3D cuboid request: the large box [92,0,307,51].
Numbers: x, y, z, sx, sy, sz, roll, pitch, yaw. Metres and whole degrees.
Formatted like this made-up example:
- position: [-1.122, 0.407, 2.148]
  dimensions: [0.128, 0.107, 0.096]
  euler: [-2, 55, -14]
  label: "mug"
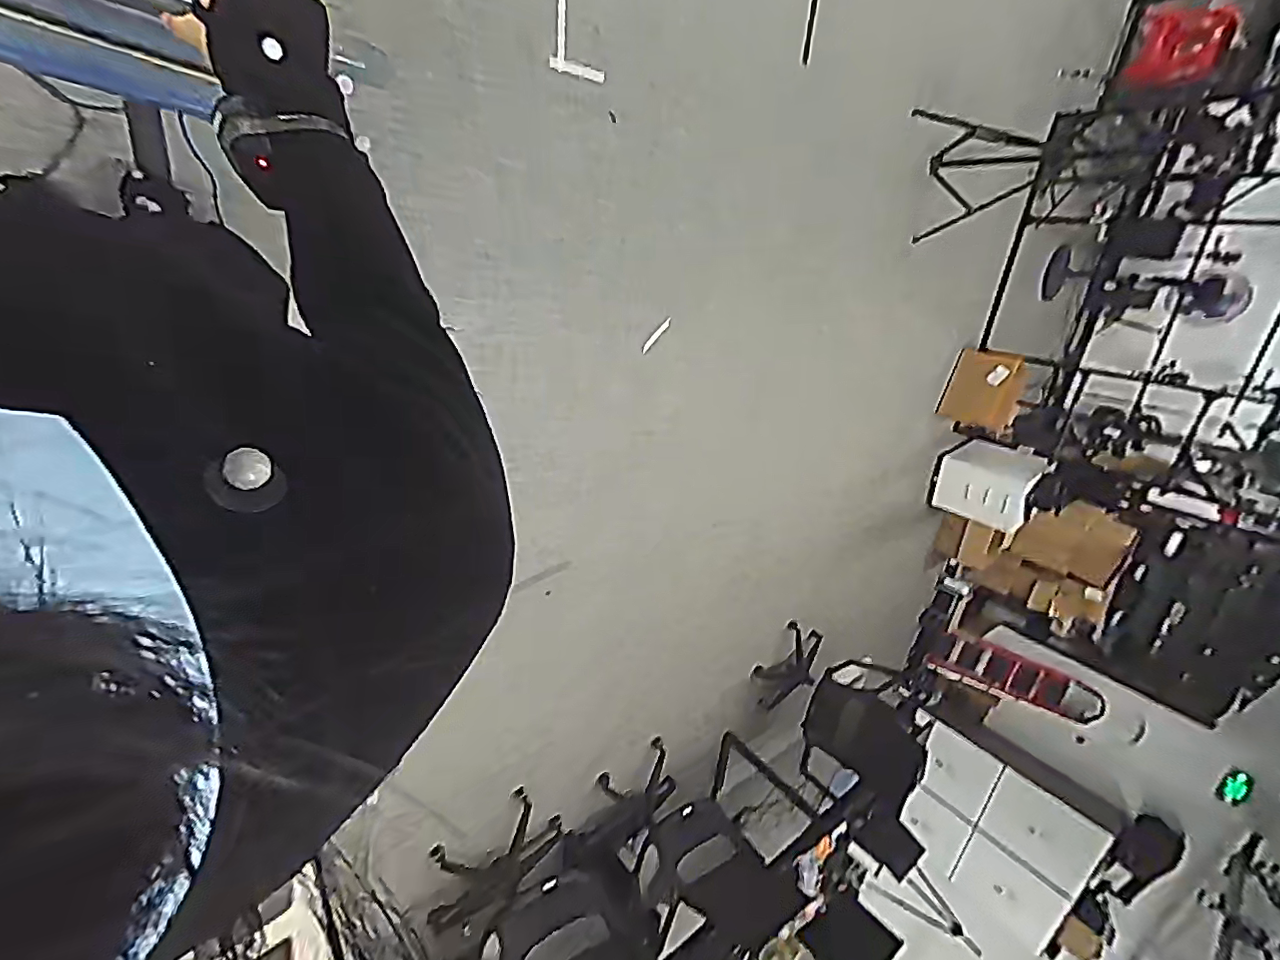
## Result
- position: [-0.690, -0.815, 0.673]
  dimensions: [0.408, 0.320, 0.320]
  euler: [-10, 117, -40]
  label: "large box"
